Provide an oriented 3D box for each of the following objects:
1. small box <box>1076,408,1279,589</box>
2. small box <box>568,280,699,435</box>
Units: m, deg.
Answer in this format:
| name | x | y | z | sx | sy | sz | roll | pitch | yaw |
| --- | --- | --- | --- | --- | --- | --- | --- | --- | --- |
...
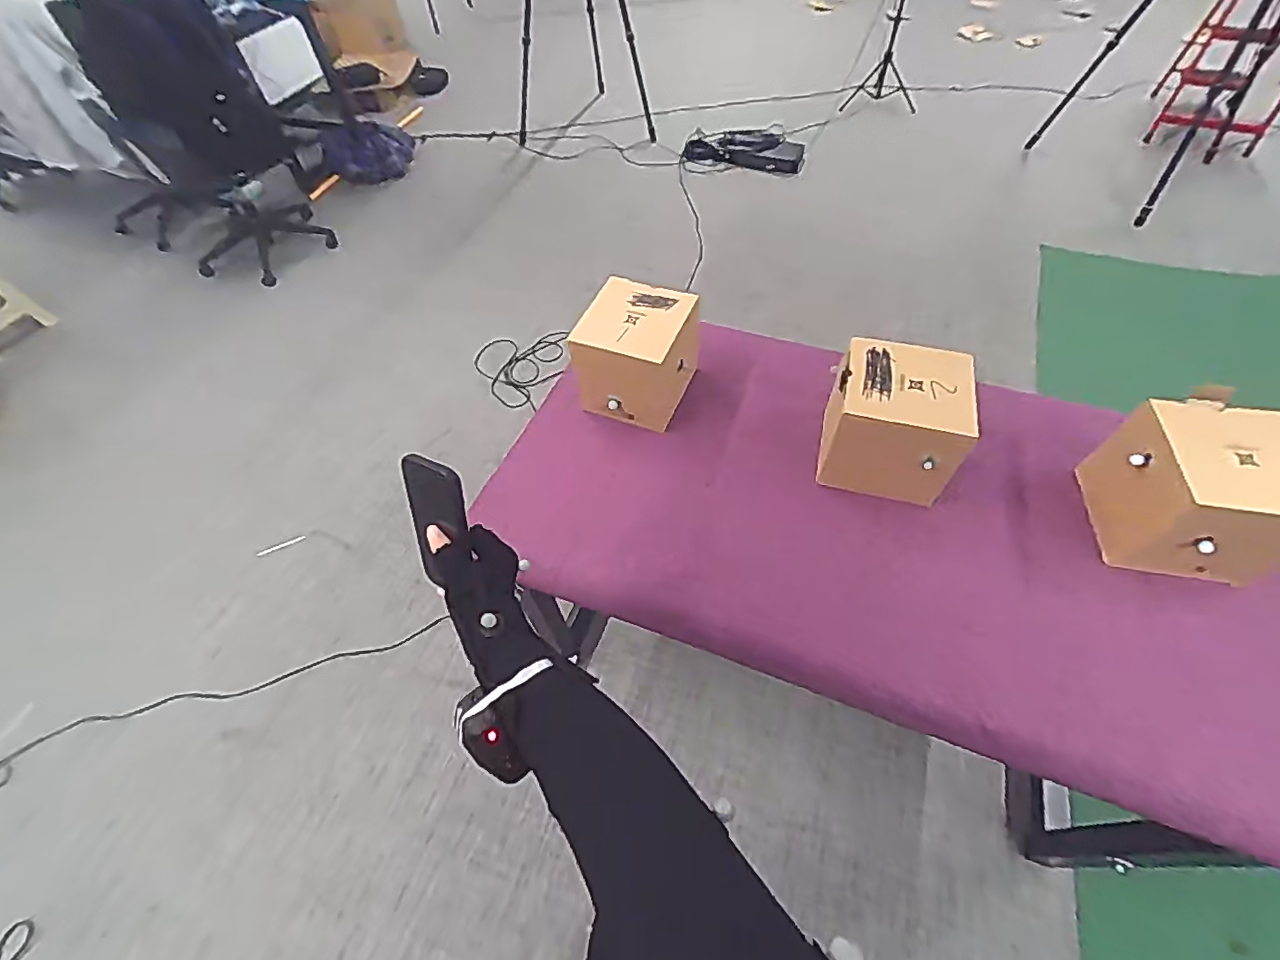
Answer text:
| name | x | y | z | sx | sy | sz | roll | pitch | yaw |
| --- | --- | --- | --- | --- | --- | --- | --- | --- | --- |
| small box | 0.744 | 0.029 | 0.732 | 0.168 | 0.176 | 0.179 | 8 | 54 | 9 |
| small box | -0.006 | -0.211 | 0.941 | 0.168 | 0.176 | 0.179 | 18 | 59 | 15 |
